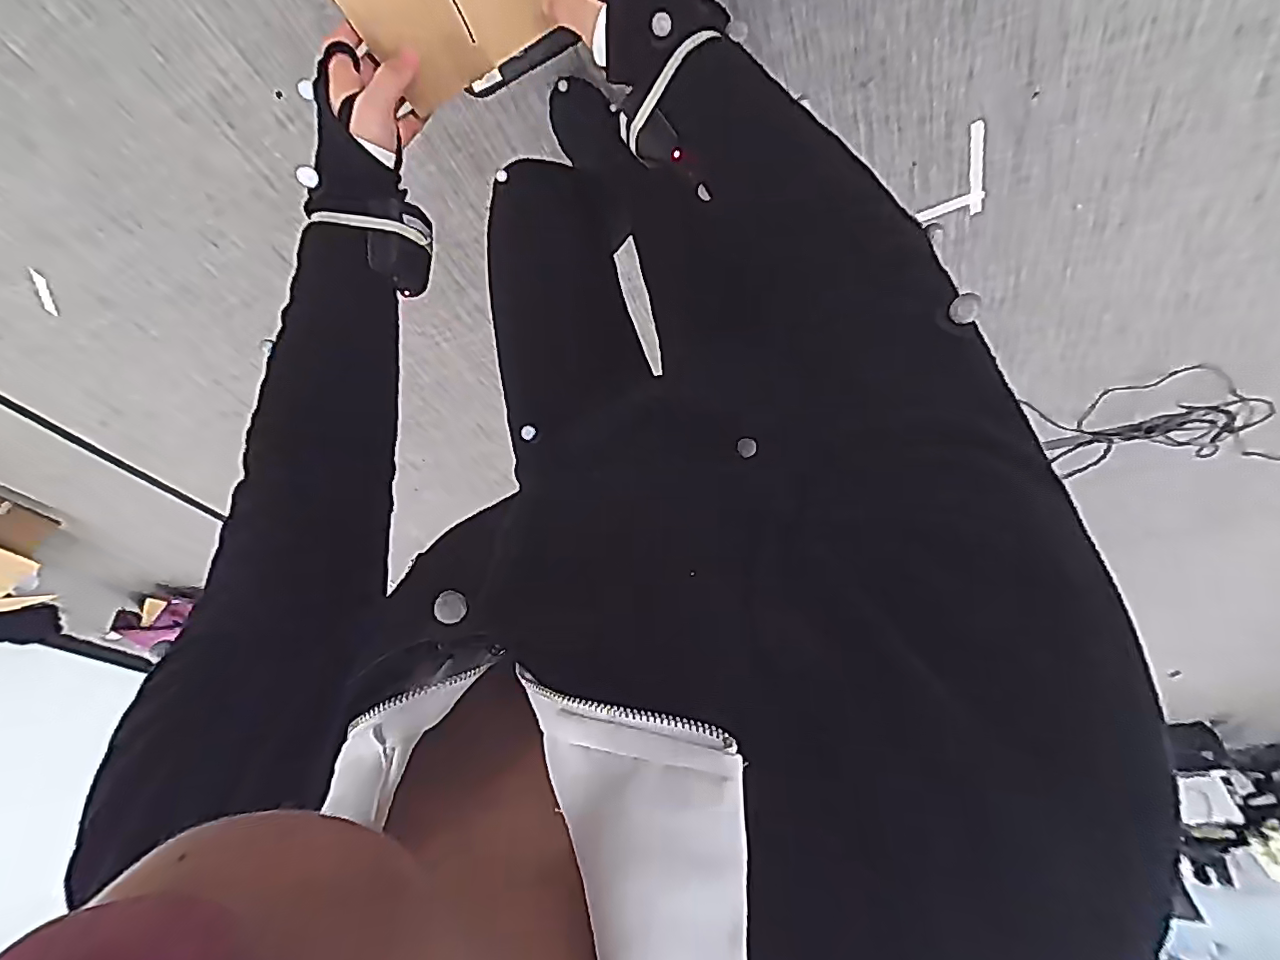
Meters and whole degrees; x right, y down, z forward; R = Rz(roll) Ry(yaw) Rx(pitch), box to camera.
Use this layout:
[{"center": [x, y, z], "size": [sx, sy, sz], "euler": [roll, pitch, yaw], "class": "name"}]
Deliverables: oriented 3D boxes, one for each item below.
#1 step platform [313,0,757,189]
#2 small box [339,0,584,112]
[{"center": [0.020, -0.562, 0.493], "size": [0.684, 0.204, 0.286], "euler": [-15, 139, 19], "class": "step platform"}, {"center": [-0.155, -0.449, 0.430], "size": [0.168, 0.176, 0.179], "euler": [-16, 140, 21], "class": "small box"}]
